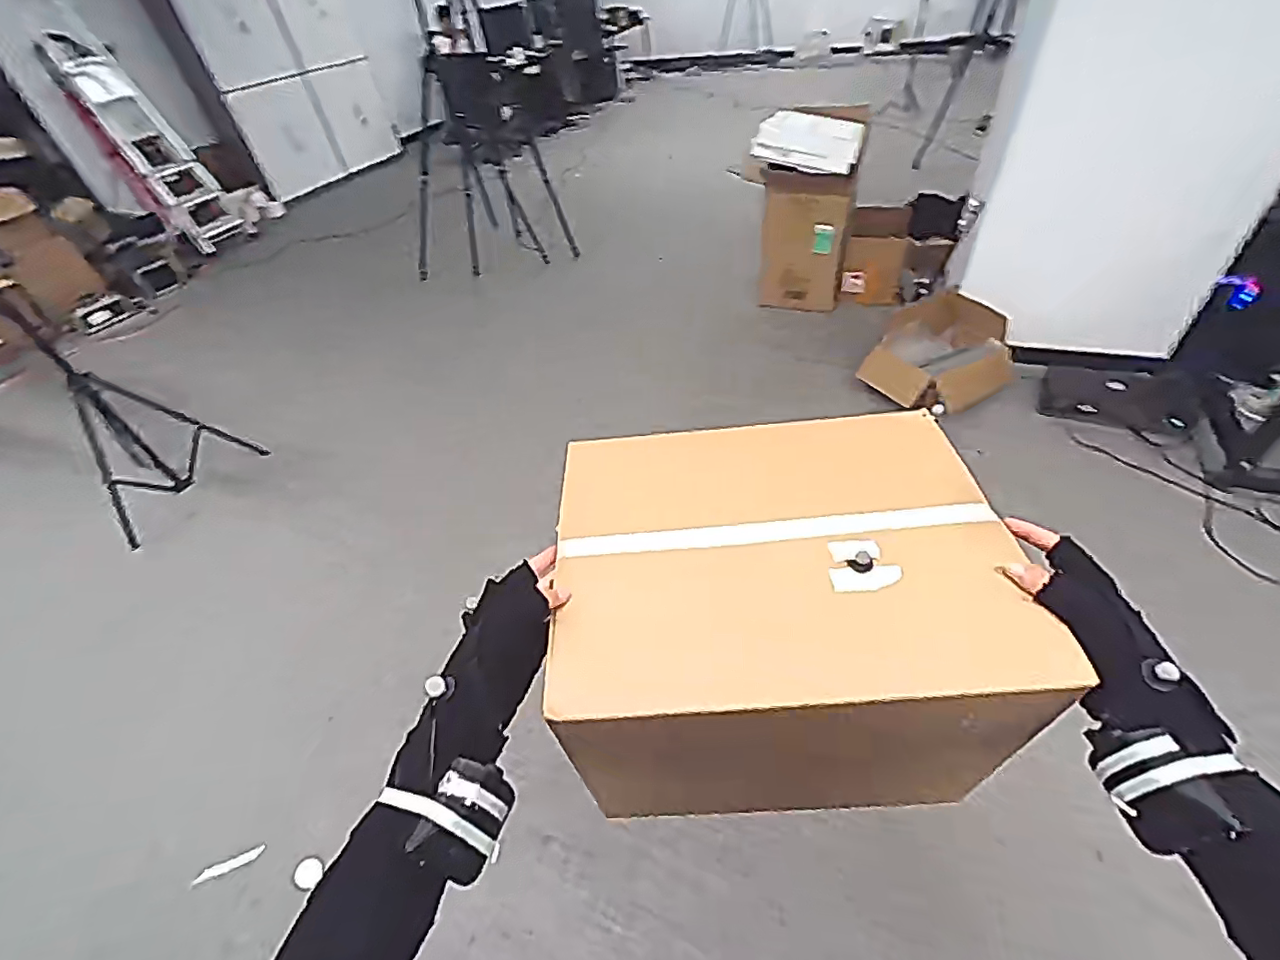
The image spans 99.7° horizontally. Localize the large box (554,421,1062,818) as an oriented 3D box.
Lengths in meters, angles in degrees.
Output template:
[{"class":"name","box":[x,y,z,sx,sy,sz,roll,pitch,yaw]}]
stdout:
[{"class":"large box","box":[0.133,0.164,0.625,0.408,0.320,0.320,-5,46,2]}]
